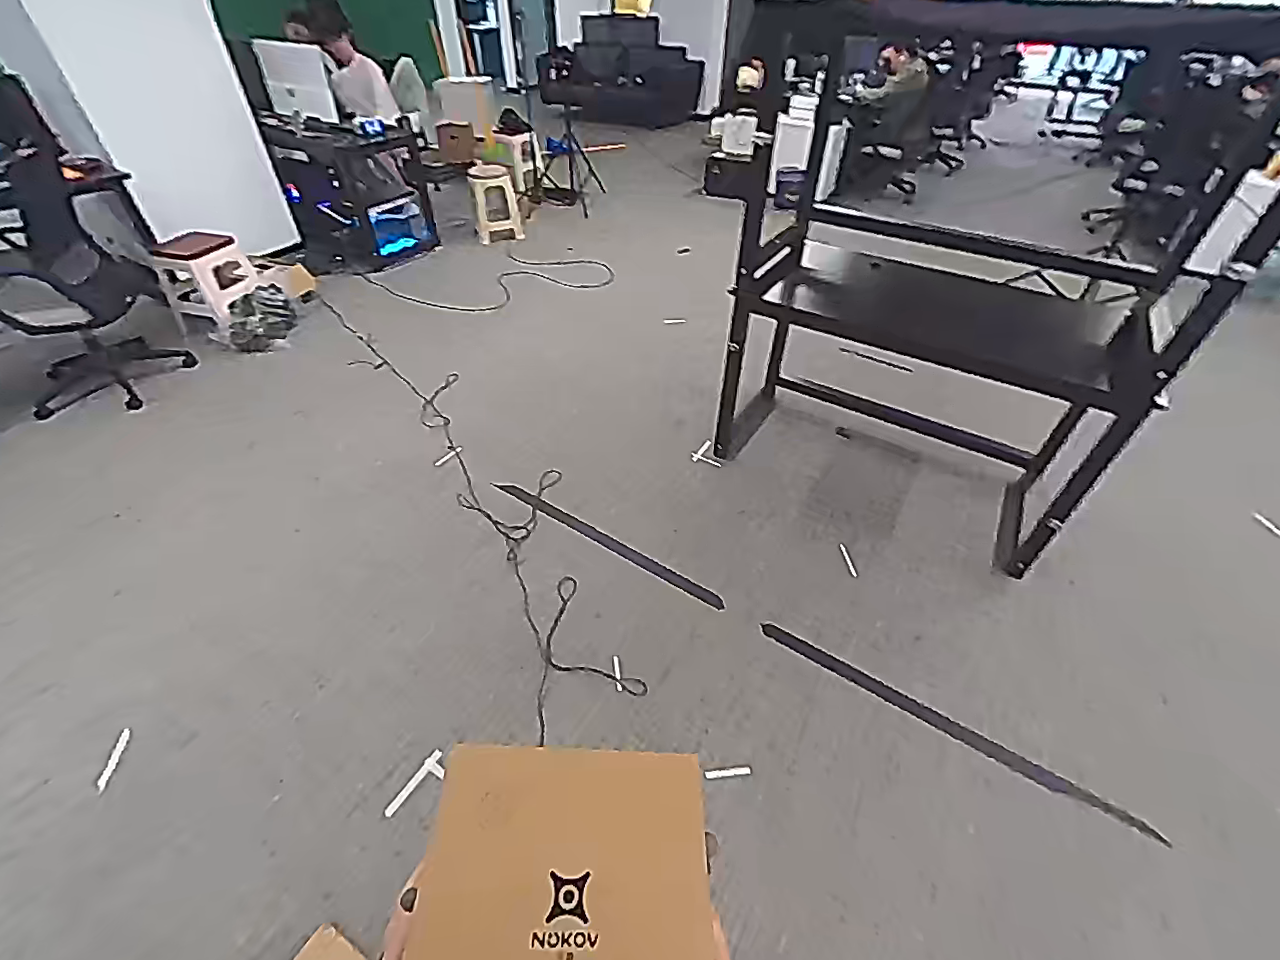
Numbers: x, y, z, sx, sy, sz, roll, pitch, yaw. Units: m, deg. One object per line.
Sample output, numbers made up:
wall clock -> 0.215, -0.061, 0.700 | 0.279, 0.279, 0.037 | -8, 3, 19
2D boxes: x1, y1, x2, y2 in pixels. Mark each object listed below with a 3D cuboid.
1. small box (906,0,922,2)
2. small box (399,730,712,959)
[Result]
small box -> 0.615, -1.208, 1.231 | 0.168, 0.176, 0.179 | 24, 46, 22
small box -> -0.053, 0.287, 0.356 | 0.168, 0.176, 0.179 | 4, 46, -6
